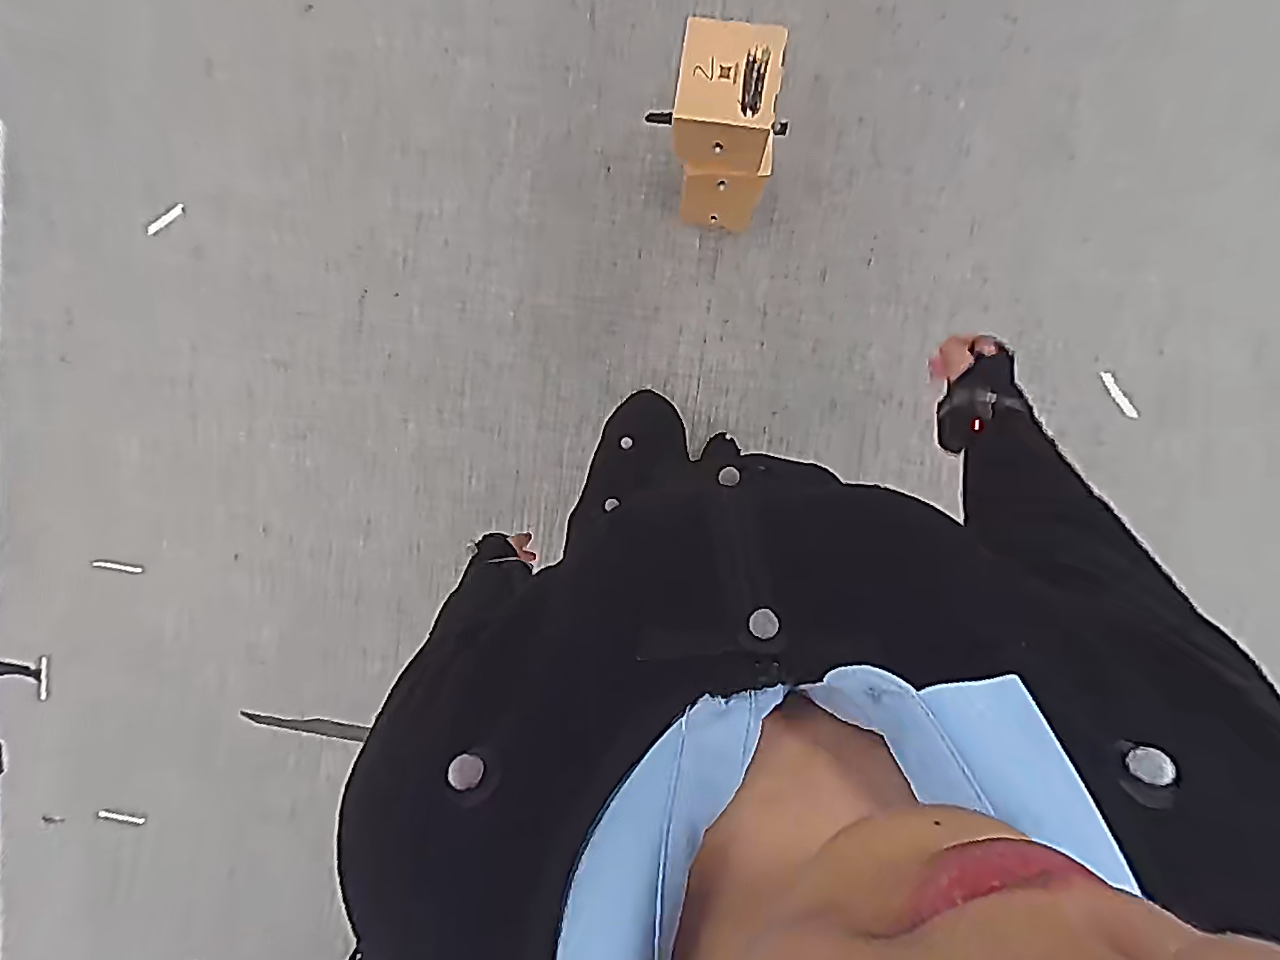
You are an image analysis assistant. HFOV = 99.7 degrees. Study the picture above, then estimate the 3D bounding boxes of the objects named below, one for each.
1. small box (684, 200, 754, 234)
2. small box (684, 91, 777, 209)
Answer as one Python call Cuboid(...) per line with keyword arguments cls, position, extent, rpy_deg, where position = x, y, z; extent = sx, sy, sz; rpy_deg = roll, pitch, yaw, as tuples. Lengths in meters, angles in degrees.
Cuboid(cls="small box", position=(0.205, -0.730, 1.329), extent=(0.168, 0.176, 0.179), rpy_deg=(11, 96, 2))
Cuboid(cls="small box", position=(0.188, -0.705, 1.169), extent=(0.179, 0.176, 0.168), rpy_deg=(2, 96, 4))
